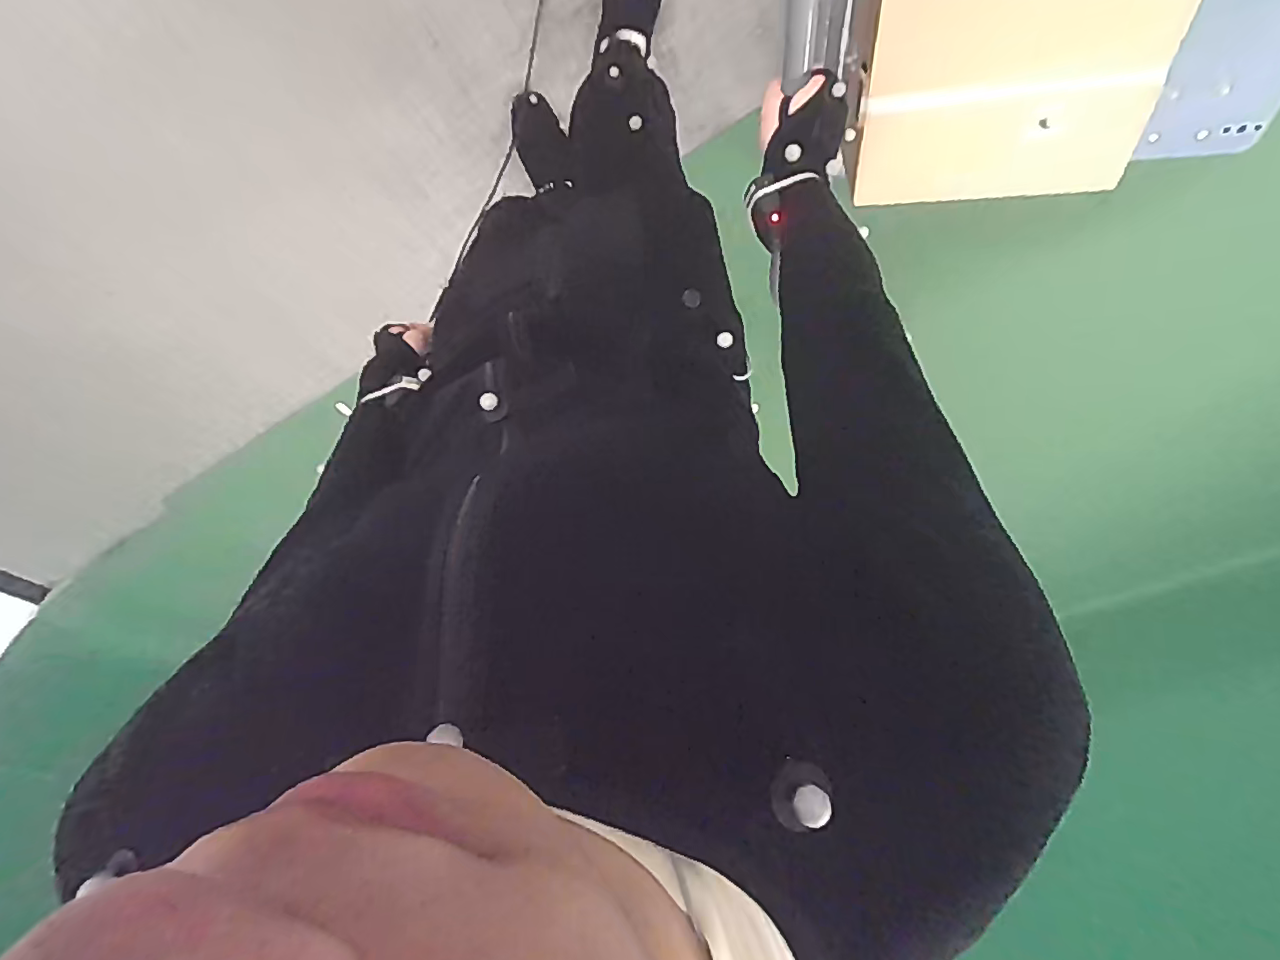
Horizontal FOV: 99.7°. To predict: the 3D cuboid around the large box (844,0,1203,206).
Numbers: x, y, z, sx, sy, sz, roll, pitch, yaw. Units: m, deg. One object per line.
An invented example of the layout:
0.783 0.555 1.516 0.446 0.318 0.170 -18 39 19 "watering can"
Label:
0.585 -0.693 0.914 0.408 0.320 0.320 2 137 11 "large box"
